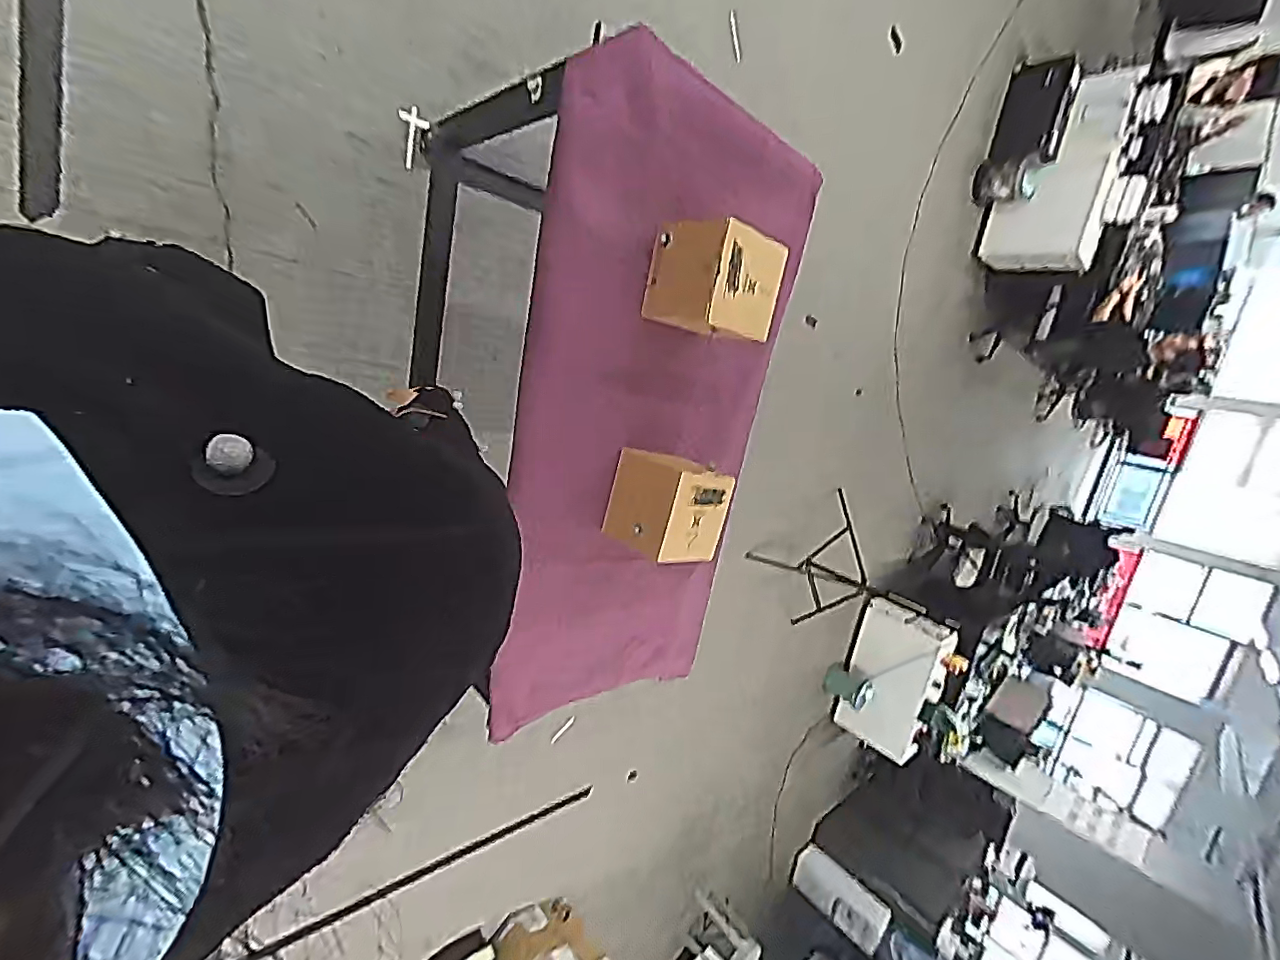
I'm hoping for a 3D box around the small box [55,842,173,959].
[{"bbox_3d":[-1.198,0.993,1.243,0.179,0.176,0.168,-7,112,-41],"label":"small box"}]

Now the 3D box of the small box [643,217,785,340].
[{"bbox_3d":[0.129,-0.361,0.985,0.179,0.176,0.168,1,107,-44],"label":"small box"}]
